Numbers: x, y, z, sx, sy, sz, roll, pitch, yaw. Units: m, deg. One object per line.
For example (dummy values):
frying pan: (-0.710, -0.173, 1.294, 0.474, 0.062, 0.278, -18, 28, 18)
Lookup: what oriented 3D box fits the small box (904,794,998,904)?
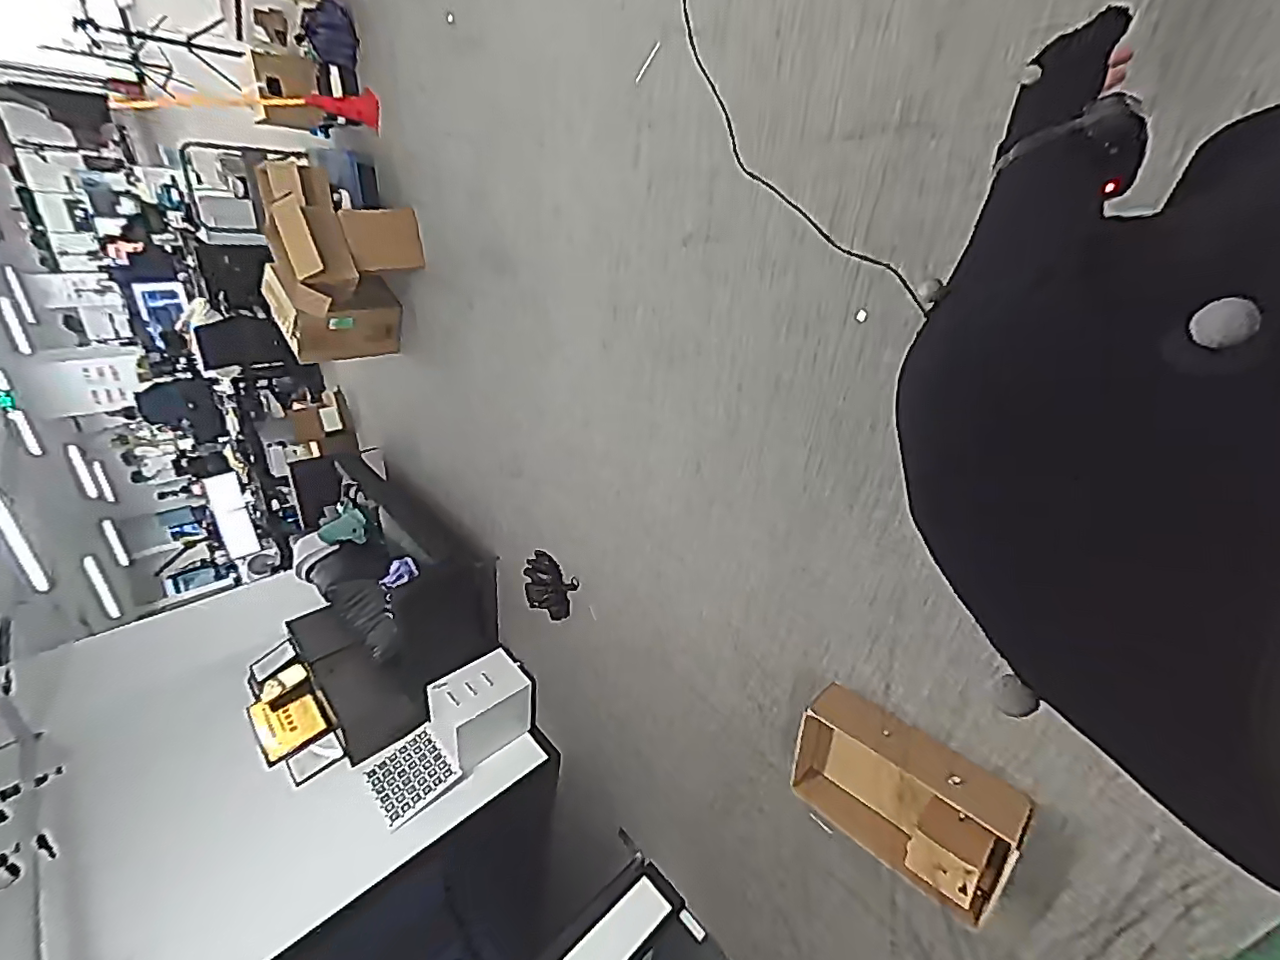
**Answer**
small box: (0.904, 1.059, 1.575, 0.179, 0.176, 0.168, 22, 123, 43)
